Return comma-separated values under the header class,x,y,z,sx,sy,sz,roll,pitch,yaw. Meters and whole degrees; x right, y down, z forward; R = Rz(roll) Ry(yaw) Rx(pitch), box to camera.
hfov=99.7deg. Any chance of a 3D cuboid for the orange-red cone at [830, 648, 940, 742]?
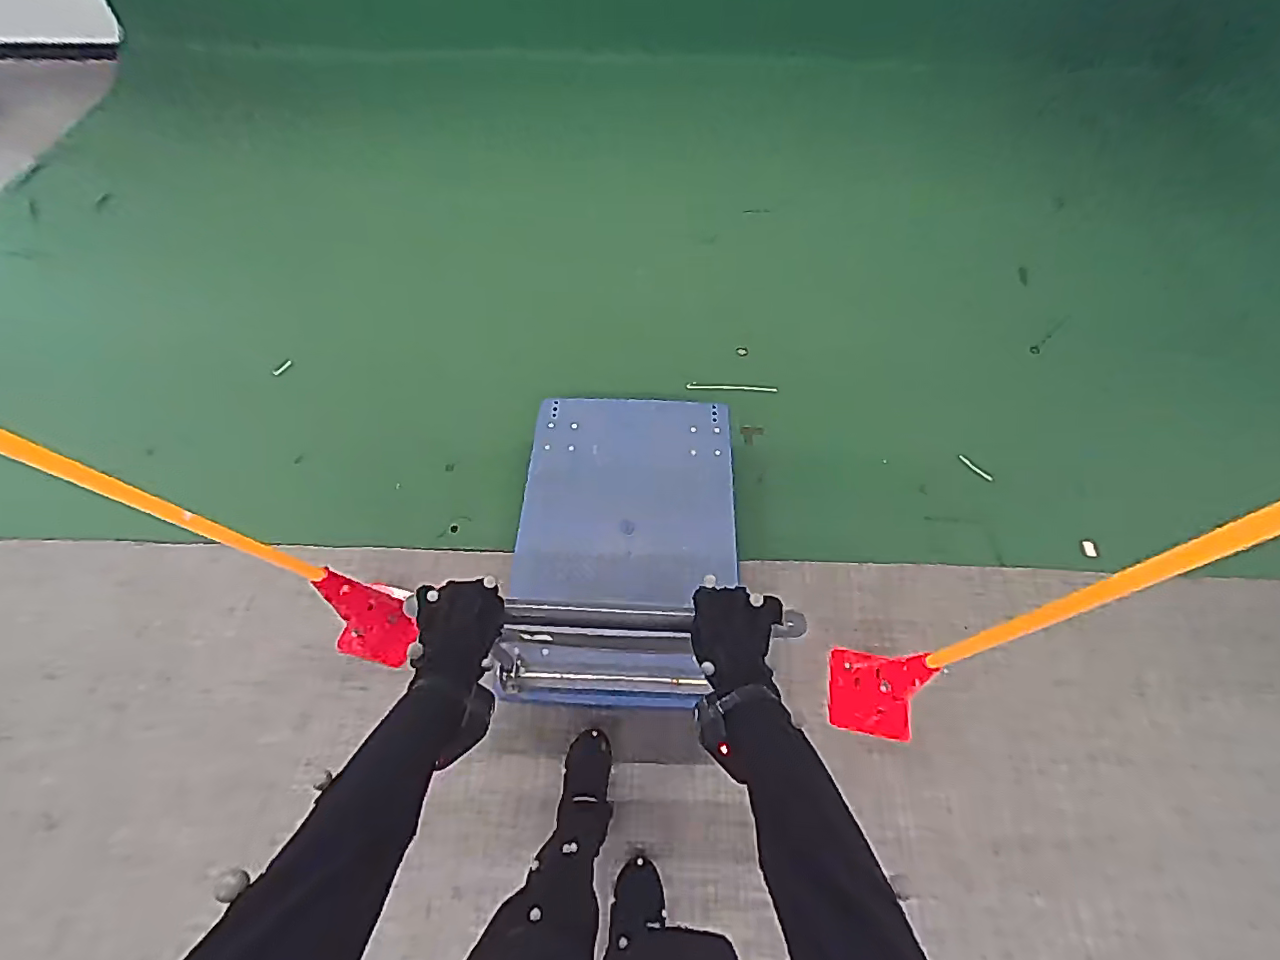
class,x,y,z,sx,sy,sz,roll,pitch,yaw
orange-red cone,0.582,0.454,1.223,0.198,0.360,0.199,11,61,8
